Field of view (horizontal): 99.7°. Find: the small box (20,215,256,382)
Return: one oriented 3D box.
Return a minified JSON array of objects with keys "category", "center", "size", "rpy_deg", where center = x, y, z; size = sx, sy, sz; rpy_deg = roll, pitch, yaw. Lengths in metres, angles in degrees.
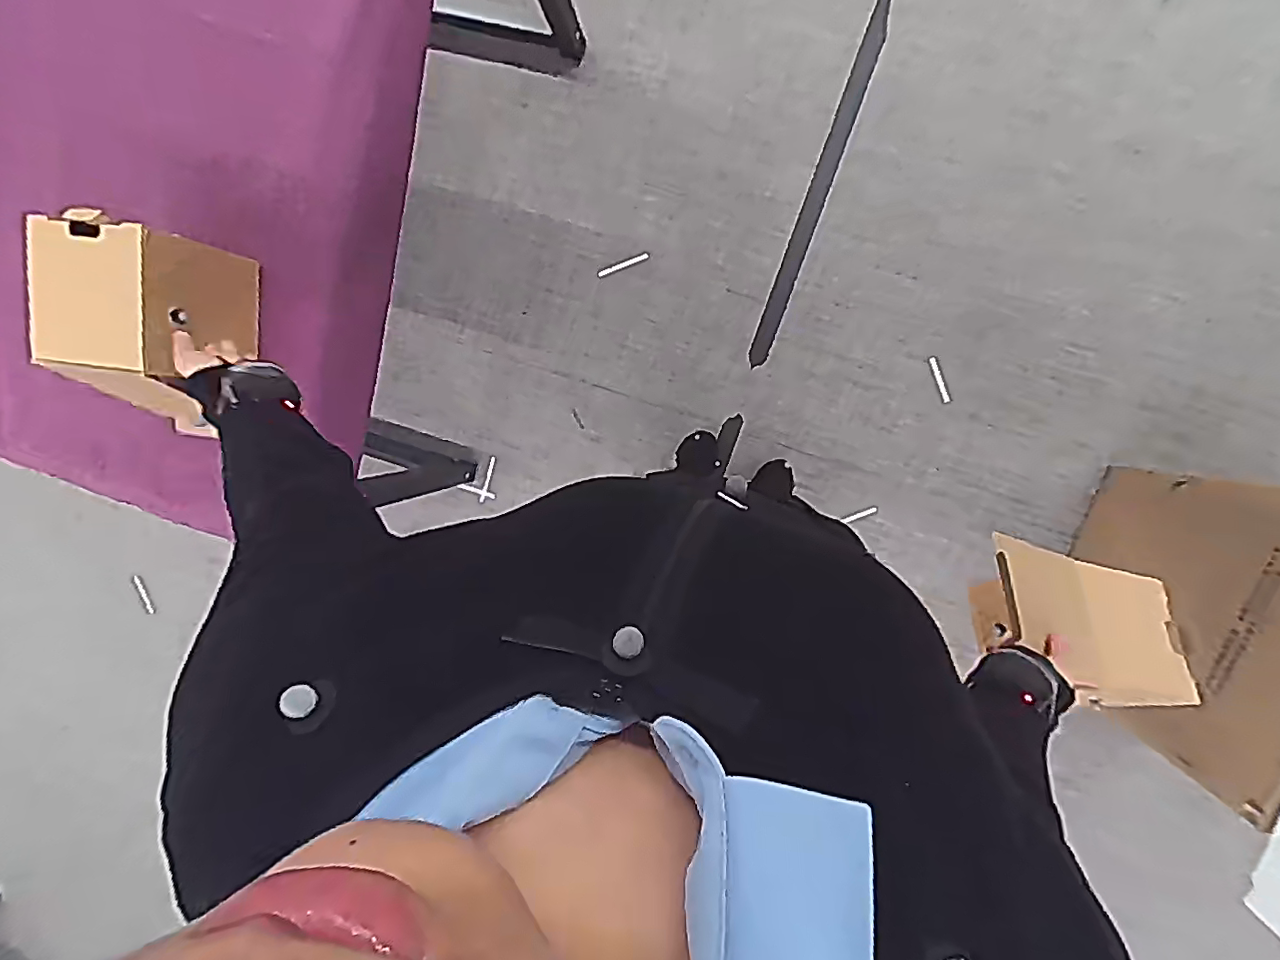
[{"category":"small box","center":[-0.654,-0.229,0.723],"size":[0.168,0.176,0.179],"rpy_deg":[8,97,7]}]
